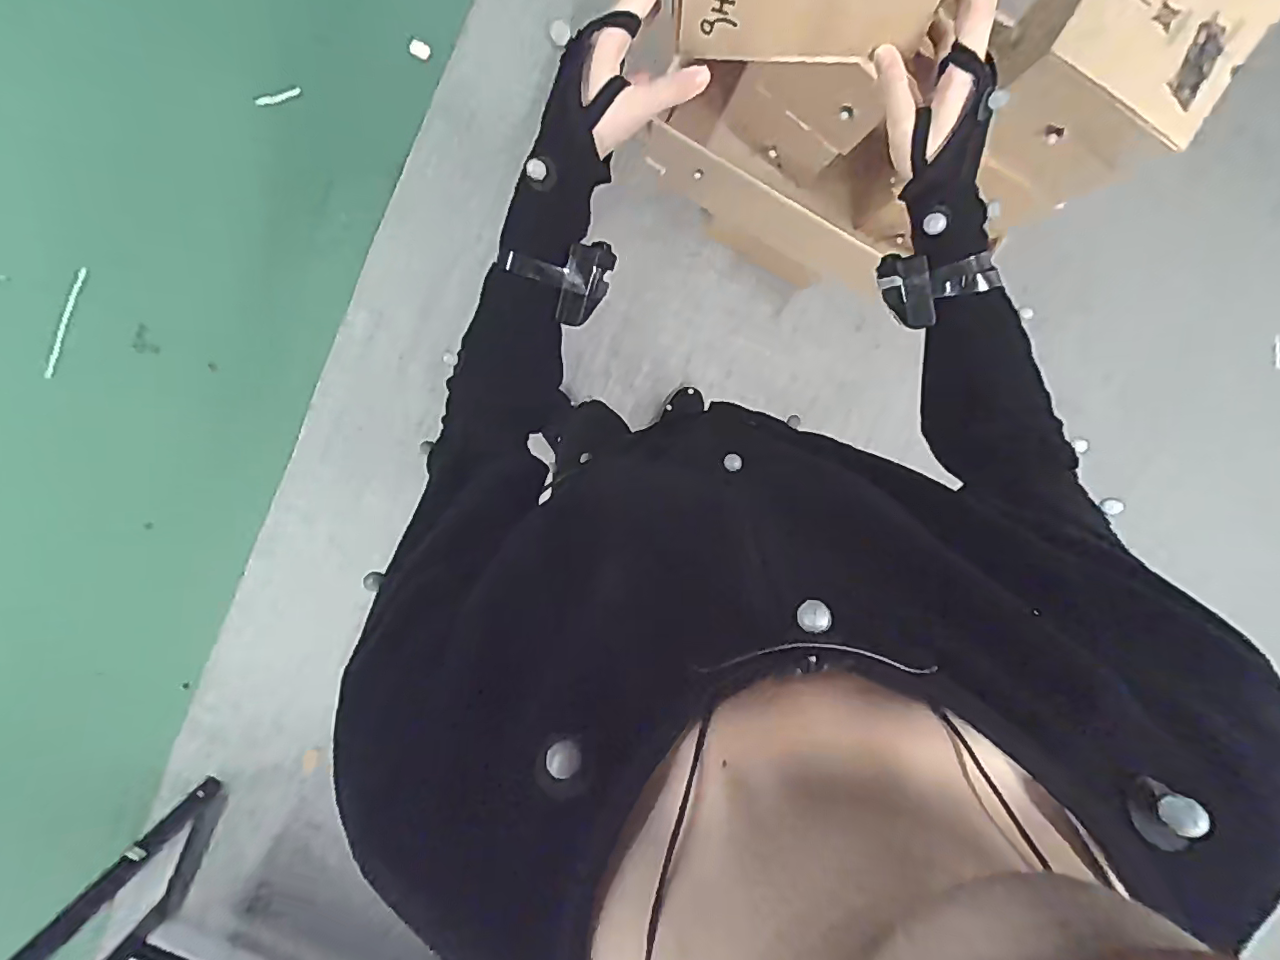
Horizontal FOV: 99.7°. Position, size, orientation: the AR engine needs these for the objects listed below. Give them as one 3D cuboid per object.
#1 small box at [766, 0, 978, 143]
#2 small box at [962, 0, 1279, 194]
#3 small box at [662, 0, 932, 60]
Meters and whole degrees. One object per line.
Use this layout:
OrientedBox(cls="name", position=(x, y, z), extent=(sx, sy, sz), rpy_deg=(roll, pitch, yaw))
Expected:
OrientedBox(cls="small box", position=(0.304, -0.603, 0.739), extent=(0.179, 0.176, 0.168), rpy_deg=(34, 96, -8))
OrientedBox(cls="small box", position=(0.514, -0.451, 0.599), extent=(0.179, 0.176, 0.168), rpy_deg=(31, 98, -4))
OrientedBox(cls="small box", position=(0.104, -0.400, 0.327), extent=(0.179, 0.168, 0.176), rpy_deg=(-3, 74, -4))
